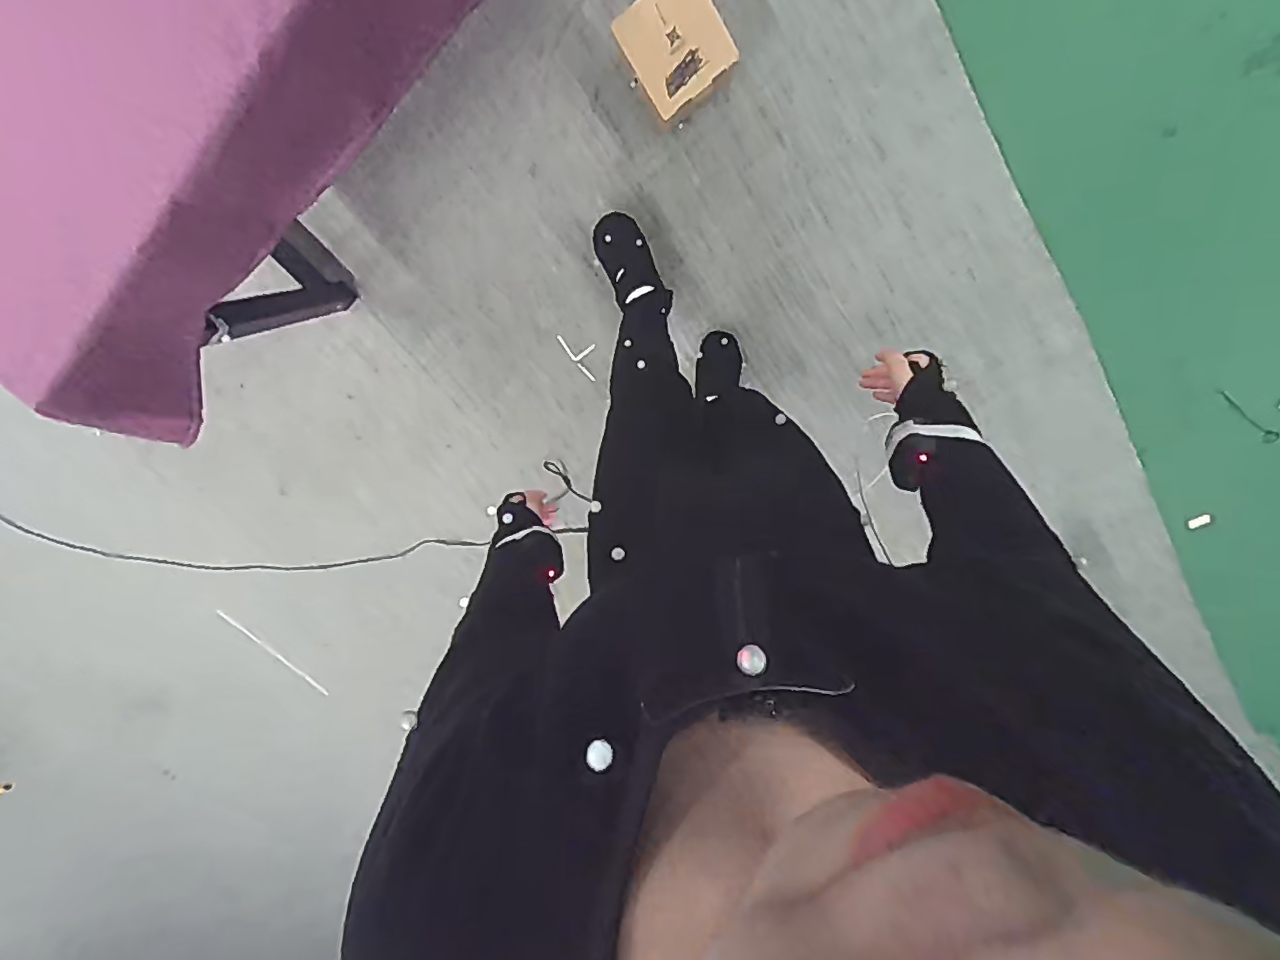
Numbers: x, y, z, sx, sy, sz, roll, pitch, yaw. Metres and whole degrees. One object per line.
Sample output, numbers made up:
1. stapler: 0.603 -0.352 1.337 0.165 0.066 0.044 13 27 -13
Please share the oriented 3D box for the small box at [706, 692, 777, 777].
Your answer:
1. small box: 0.326 0.828 1.781 0.168 0.176 0.179 -31 109 18
